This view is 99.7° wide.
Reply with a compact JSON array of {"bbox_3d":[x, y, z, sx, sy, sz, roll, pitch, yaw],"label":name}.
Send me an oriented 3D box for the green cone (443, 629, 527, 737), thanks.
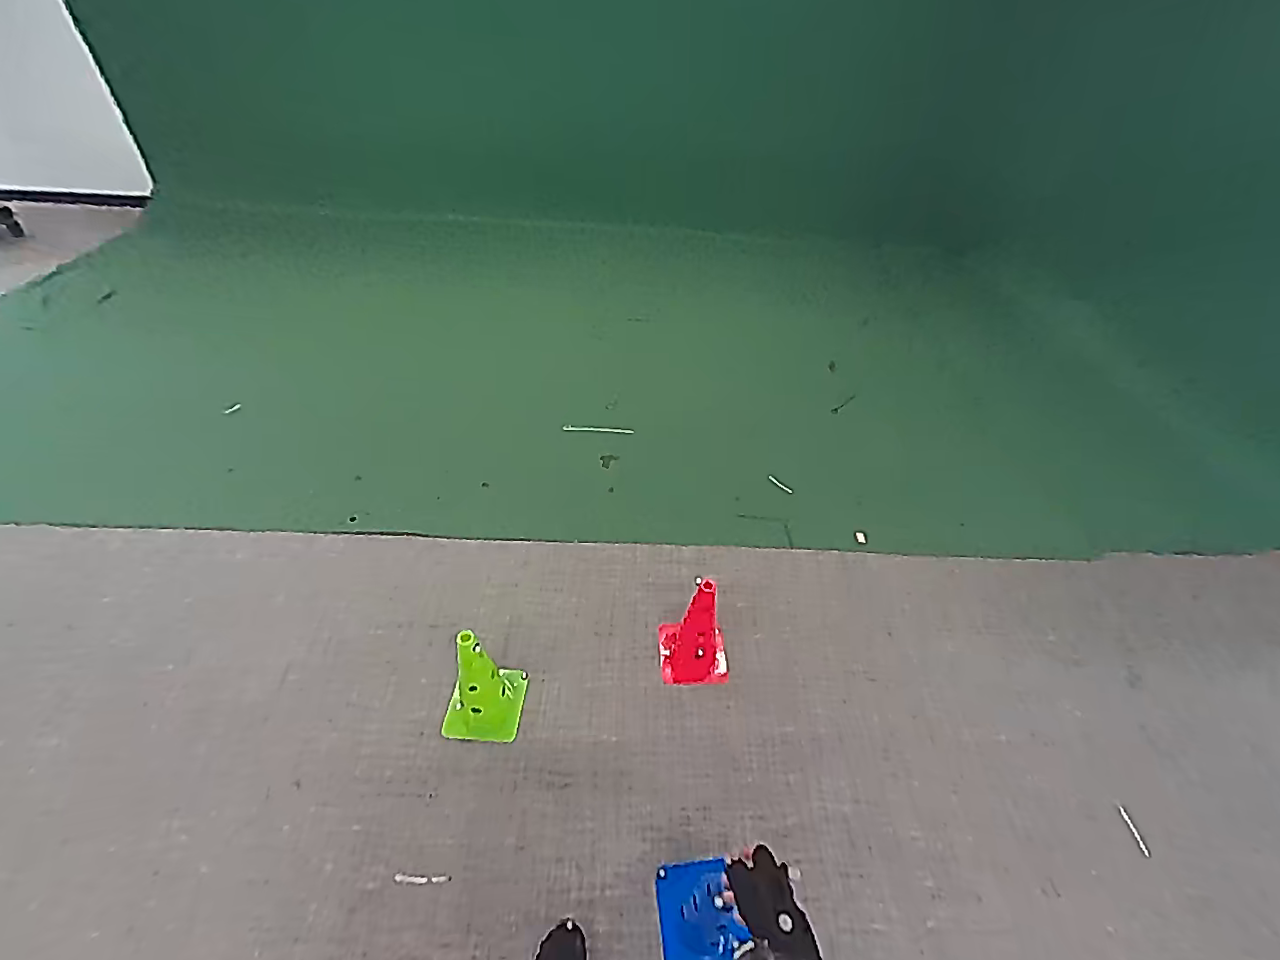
[{"bbox_3d":[-0.420,0.486,1.386,0.200,0.368,0.202,4,45,0],"label":"green cone"}]
